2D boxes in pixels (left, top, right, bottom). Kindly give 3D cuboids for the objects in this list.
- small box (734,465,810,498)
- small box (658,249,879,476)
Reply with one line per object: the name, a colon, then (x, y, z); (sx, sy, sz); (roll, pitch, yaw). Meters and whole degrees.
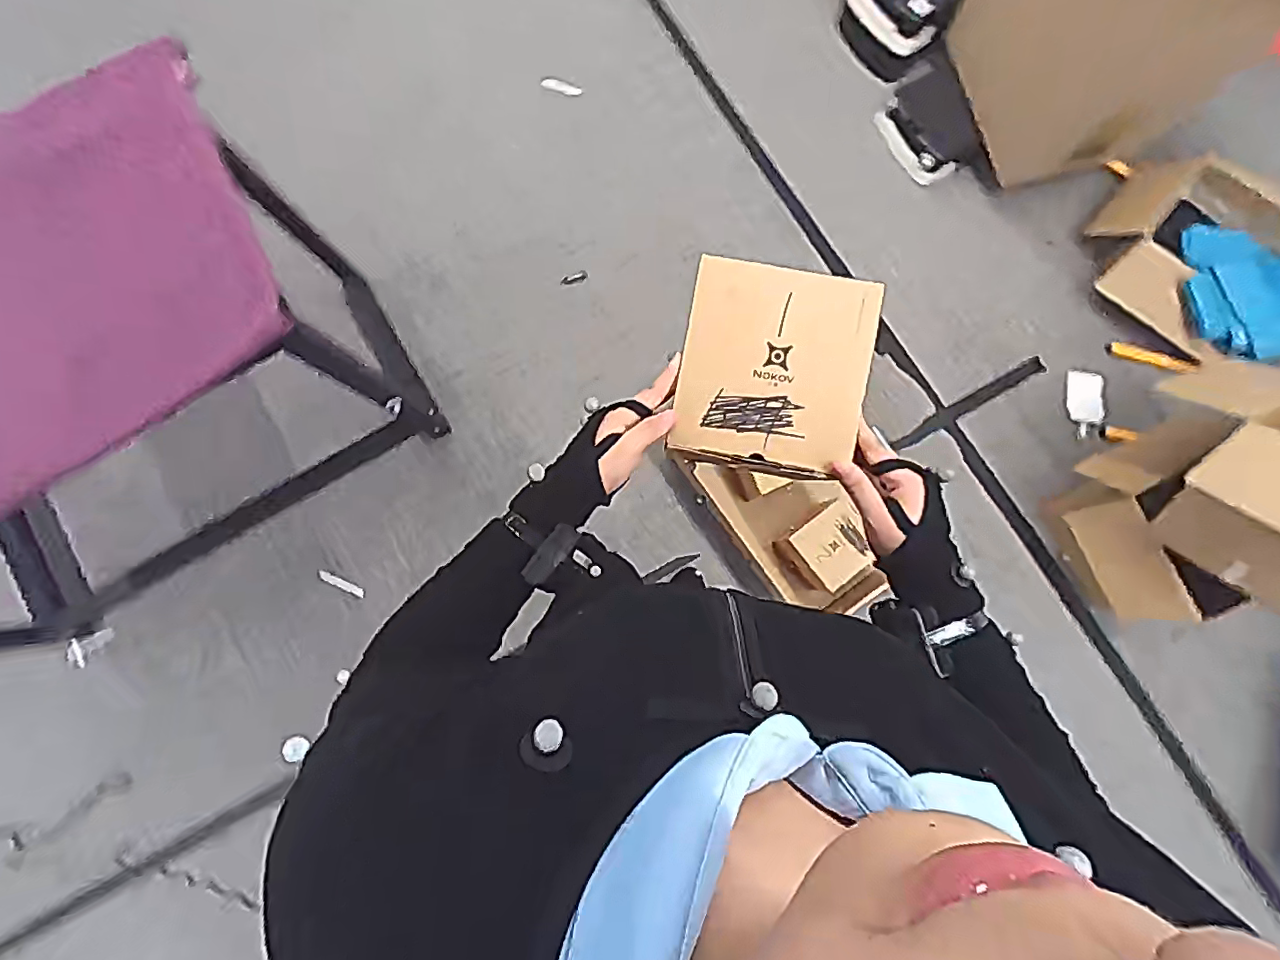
small box: (0.349, -0.064, 1.418); (0.179, 0.176, 0.168); (-24, 84, -3)
small box: (0.115, -0.102, 0.551); (0.168, 0.176, 0.179); (11, 89, 2)
